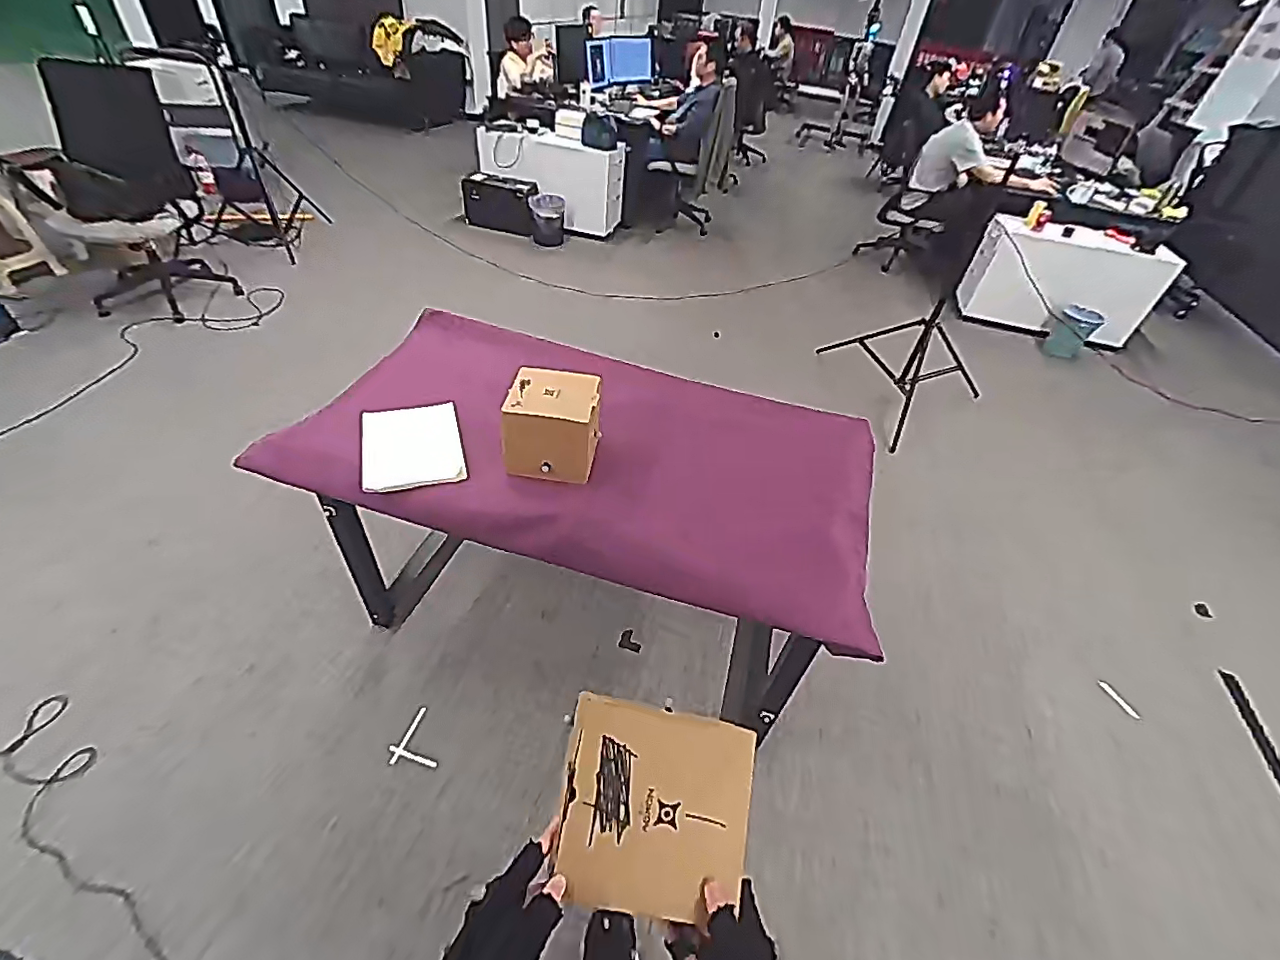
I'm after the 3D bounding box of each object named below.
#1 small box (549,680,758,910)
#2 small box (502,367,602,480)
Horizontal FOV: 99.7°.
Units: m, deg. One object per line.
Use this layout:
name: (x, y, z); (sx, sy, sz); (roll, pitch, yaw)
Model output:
small box: (0.007, 0.317, 0.580); (0.179, 0.176, 0.168); (14, 70, -5)
small box: (-0.183, -0.118, 1.156); (0.179, 0.176, 0.168); (8, 42, 0)
